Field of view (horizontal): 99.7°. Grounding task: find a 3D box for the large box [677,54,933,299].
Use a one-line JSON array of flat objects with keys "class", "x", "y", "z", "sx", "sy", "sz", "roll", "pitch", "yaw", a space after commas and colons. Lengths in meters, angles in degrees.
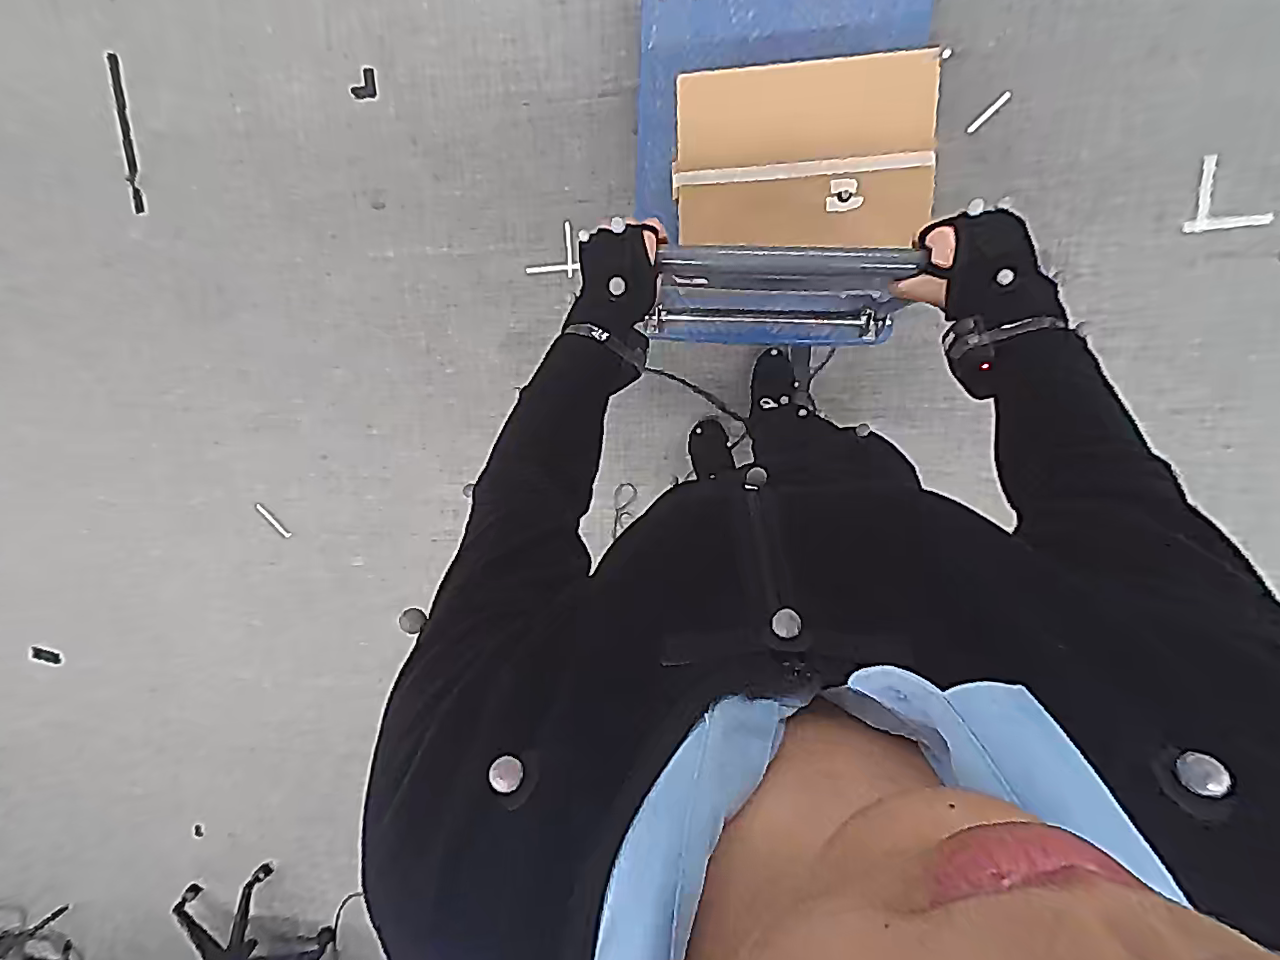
[{"class": "large box", "x": 0.282, "y": -0.538, "z": 1.038, "sx": 0.408, "sy": 0.320, "sz": 0.320, "roll": -1, "pitch": 102, "yaw": 7}]
